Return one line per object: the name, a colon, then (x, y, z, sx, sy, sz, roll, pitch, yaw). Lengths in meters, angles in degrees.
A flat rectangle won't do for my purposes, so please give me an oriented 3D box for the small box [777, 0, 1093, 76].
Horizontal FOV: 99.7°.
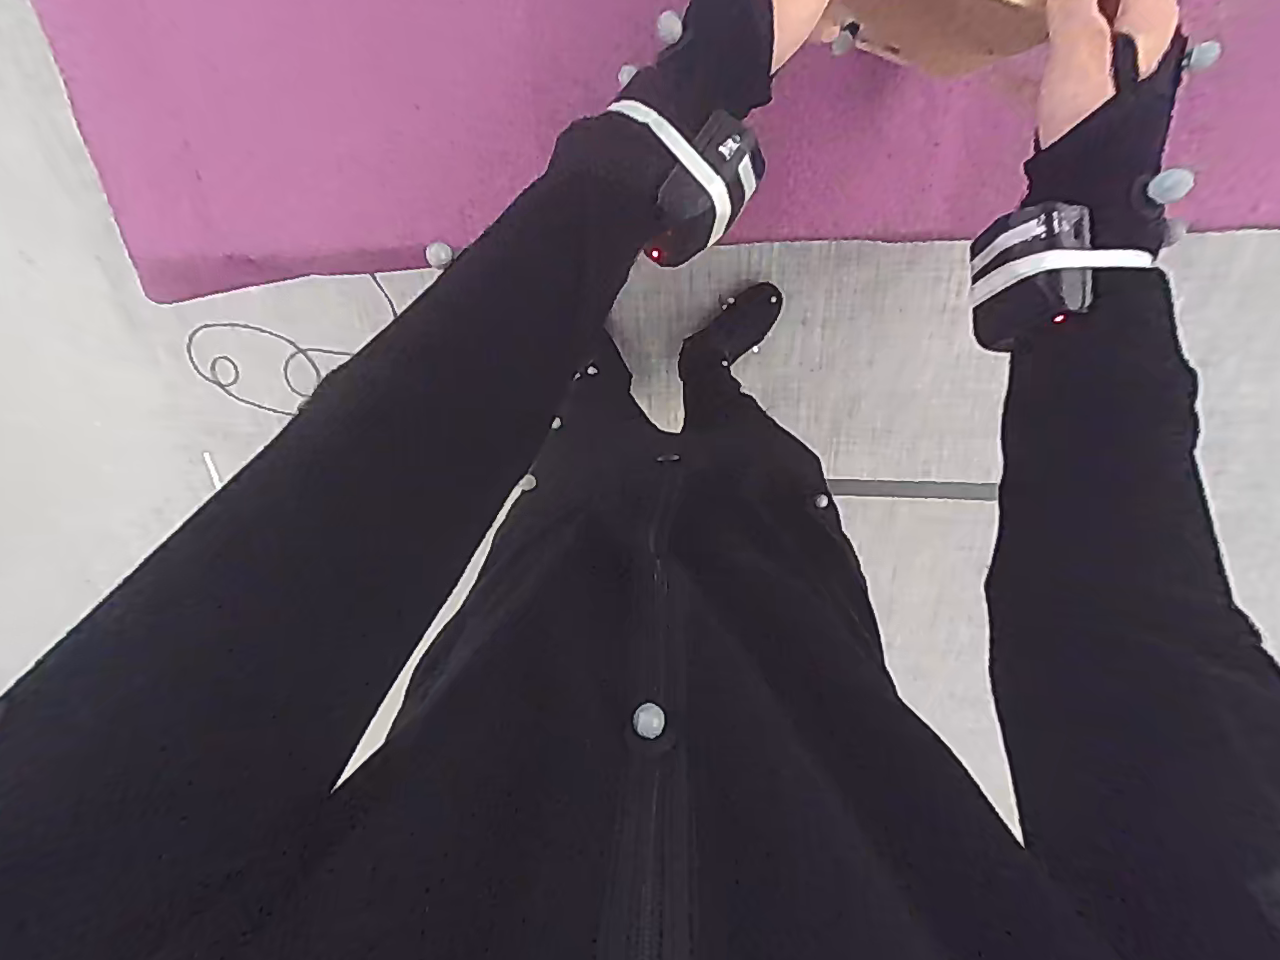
small box: (0.192, -0.378, 0.316, 0.168, 0.176, 0.179, 18, 118, -4)
